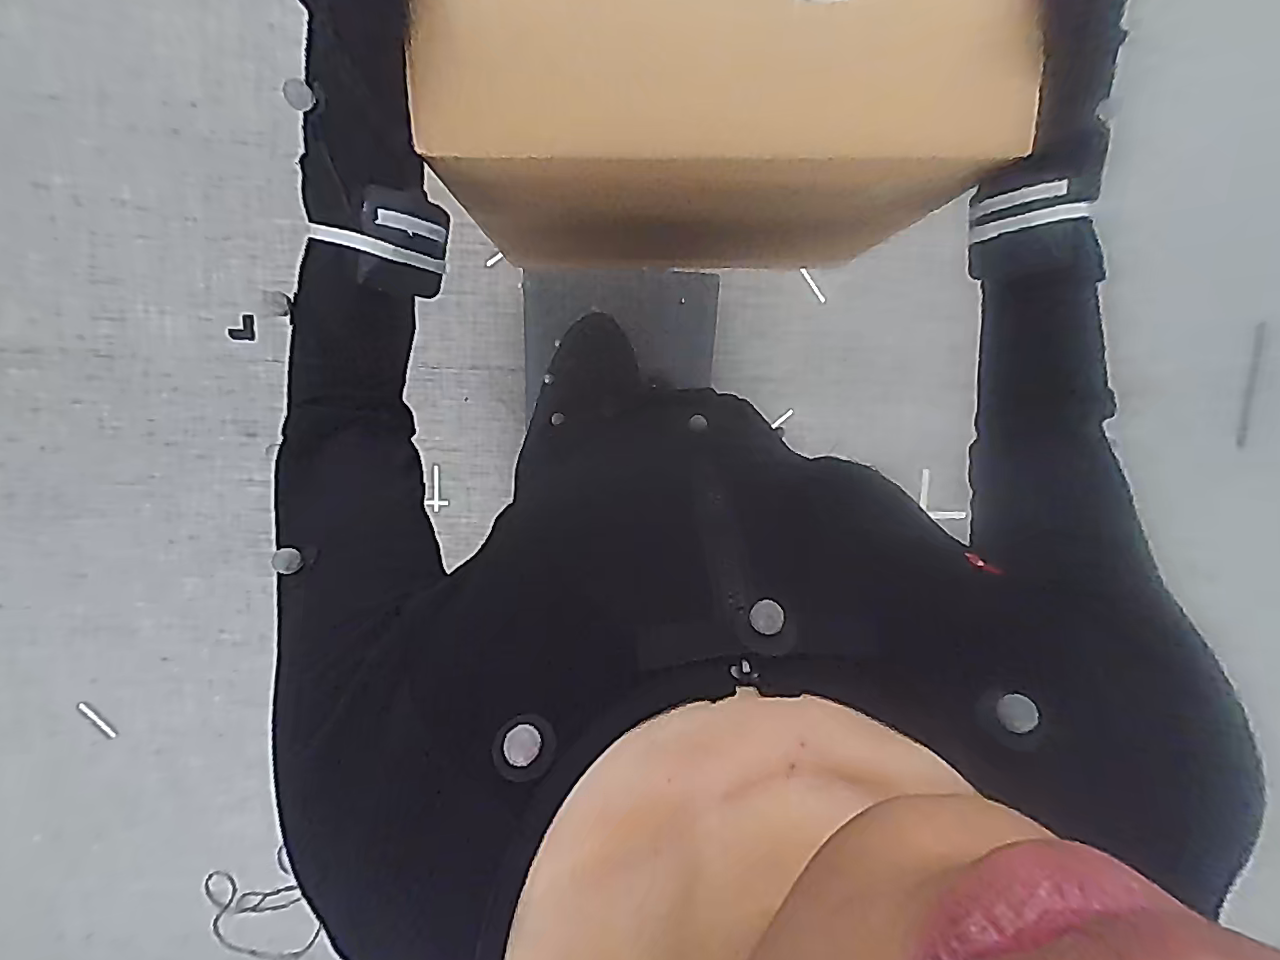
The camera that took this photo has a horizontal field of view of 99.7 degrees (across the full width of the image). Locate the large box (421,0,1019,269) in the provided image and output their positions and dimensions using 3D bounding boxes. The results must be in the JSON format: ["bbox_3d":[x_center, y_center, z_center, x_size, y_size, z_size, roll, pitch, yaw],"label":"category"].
[{"bbox_3d":[0.046,-0.394,0.494,0.408,0.320,0.320,-1,99,-2],"label":"large box"}]
